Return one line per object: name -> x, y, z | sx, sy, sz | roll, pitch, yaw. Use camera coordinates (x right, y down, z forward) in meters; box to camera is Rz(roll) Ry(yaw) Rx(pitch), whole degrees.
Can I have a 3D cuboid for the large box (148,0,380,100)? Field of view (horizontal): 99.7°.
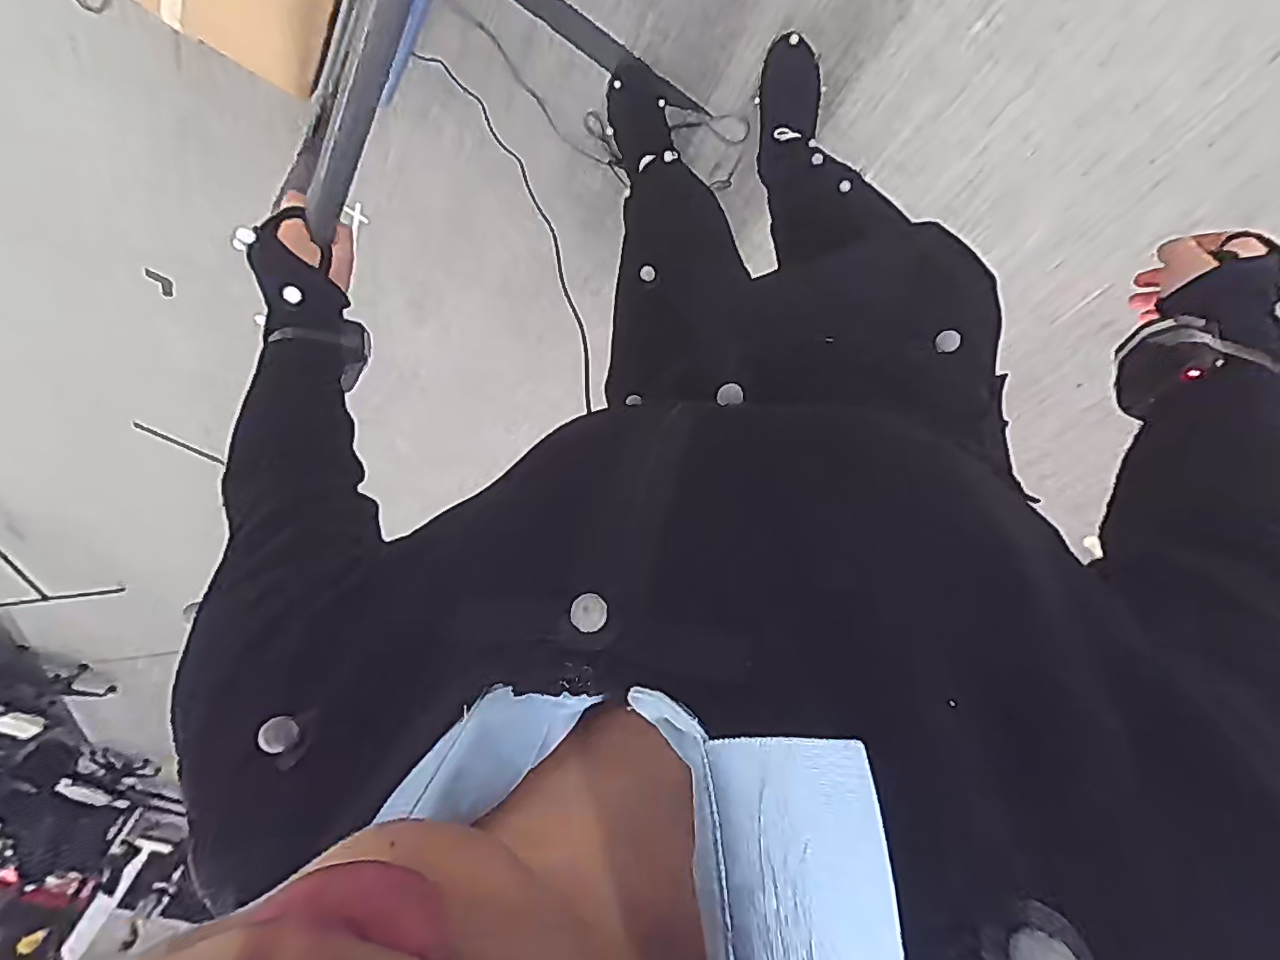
large box -> -0.474, -0.802, 0.660 | 0.320, 0.320, 0.408 | 21, 134, -32
